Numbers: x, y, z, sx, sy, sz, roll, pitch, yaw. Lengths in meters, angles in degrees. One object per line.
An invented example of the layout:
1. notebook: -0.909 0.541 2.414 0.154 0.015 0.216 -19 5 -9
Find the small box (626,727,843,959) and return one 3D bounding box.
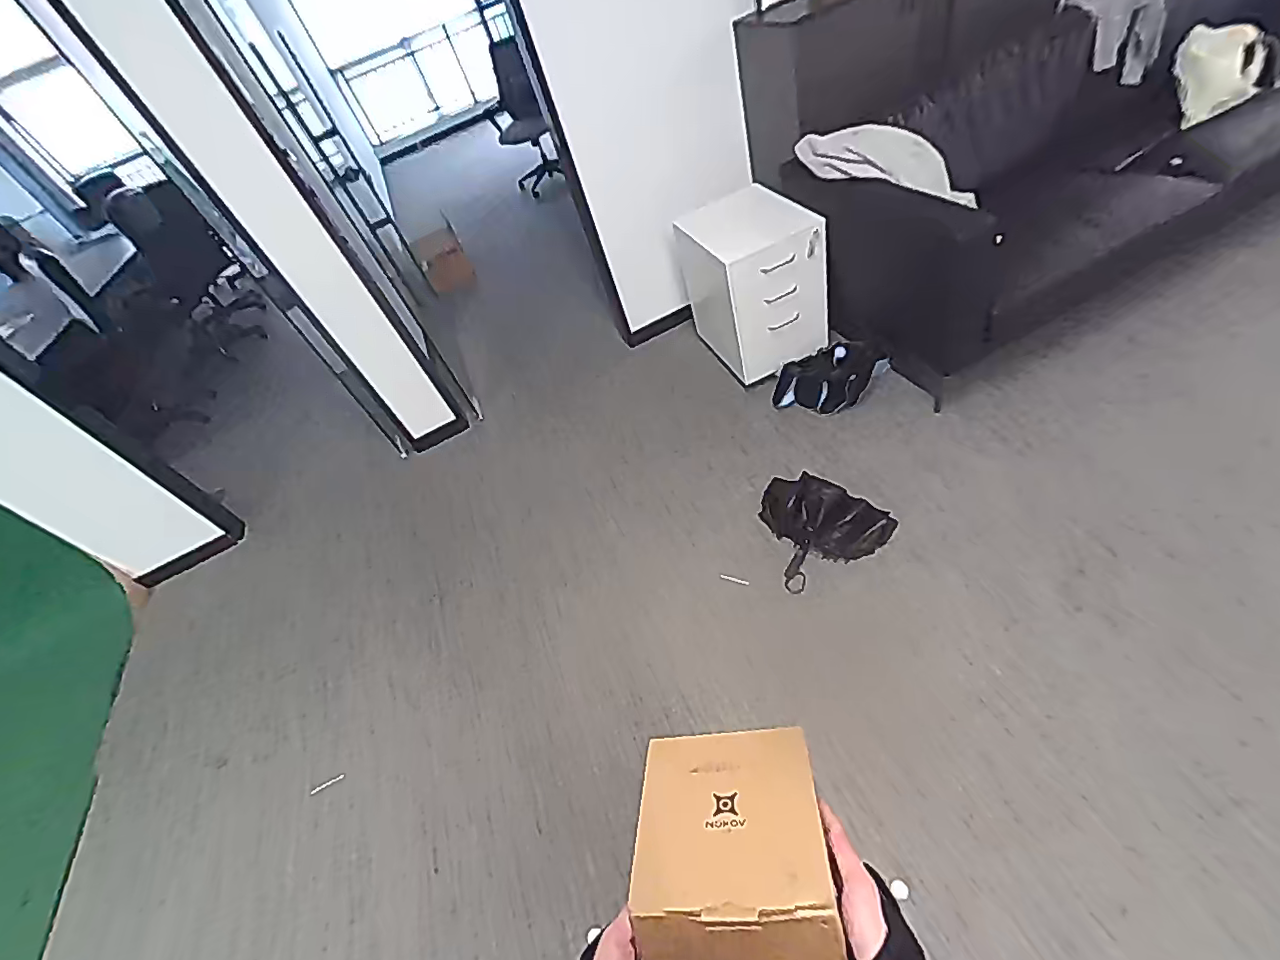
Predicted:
1. small box: 0.095 0.374 0.521 0.168 0.176 0.179 -9 19 11
